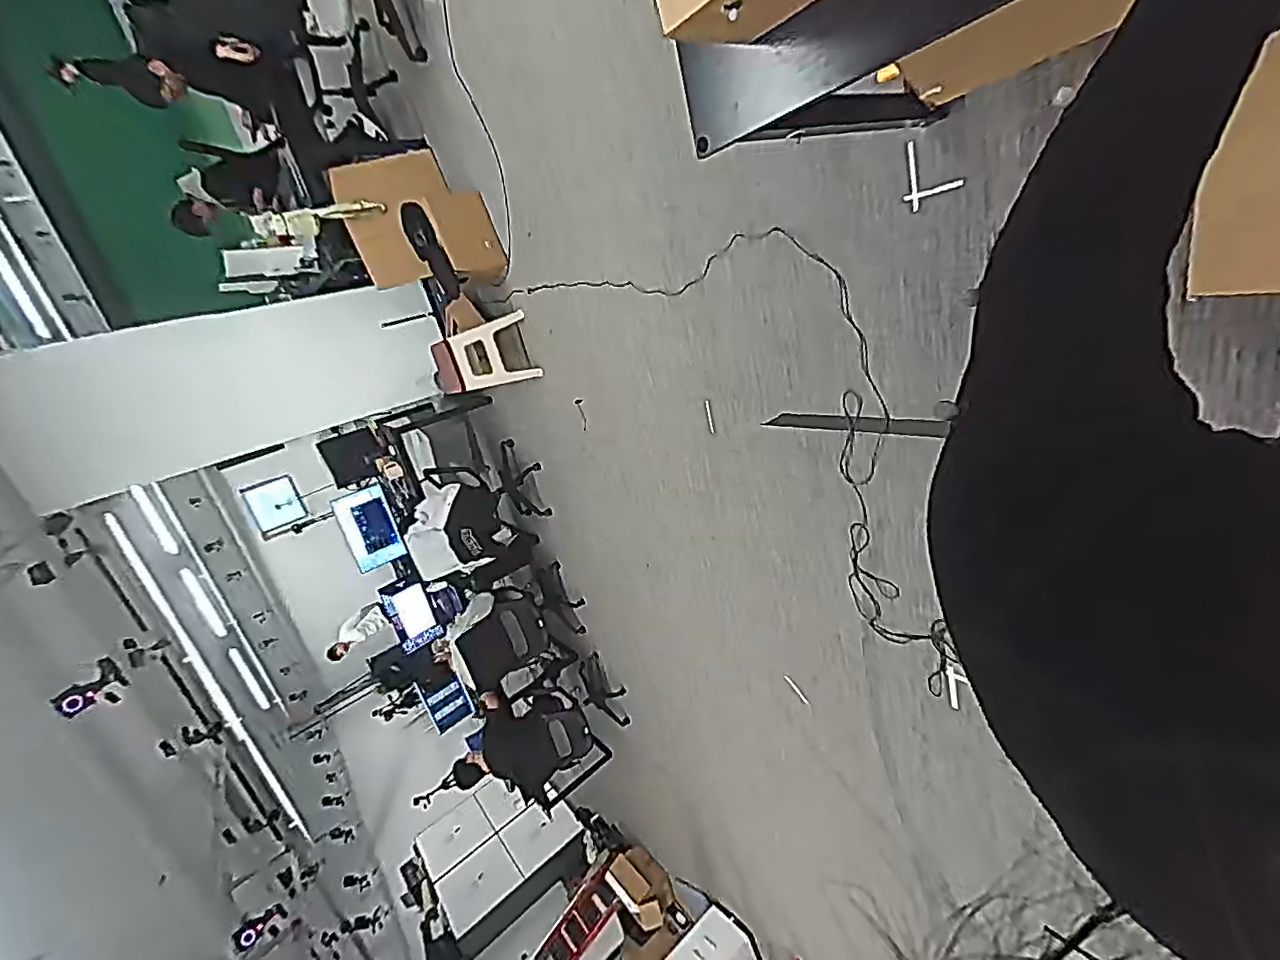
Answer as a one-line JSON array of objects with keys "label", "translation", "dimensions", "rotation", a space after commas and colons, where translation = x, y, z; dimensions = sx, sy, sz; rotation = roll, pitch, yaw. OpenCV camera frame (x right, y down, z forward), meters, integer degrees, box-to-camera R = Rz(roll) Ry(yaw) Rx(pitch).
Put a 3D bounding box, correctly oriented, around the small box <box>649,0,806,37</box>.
[{"label": "small box", "translation": [0.114, -0.627, 0.600], "dimensions": [0.179, 0.176, 0.168], "rotation": [12, 123, 51]}]
